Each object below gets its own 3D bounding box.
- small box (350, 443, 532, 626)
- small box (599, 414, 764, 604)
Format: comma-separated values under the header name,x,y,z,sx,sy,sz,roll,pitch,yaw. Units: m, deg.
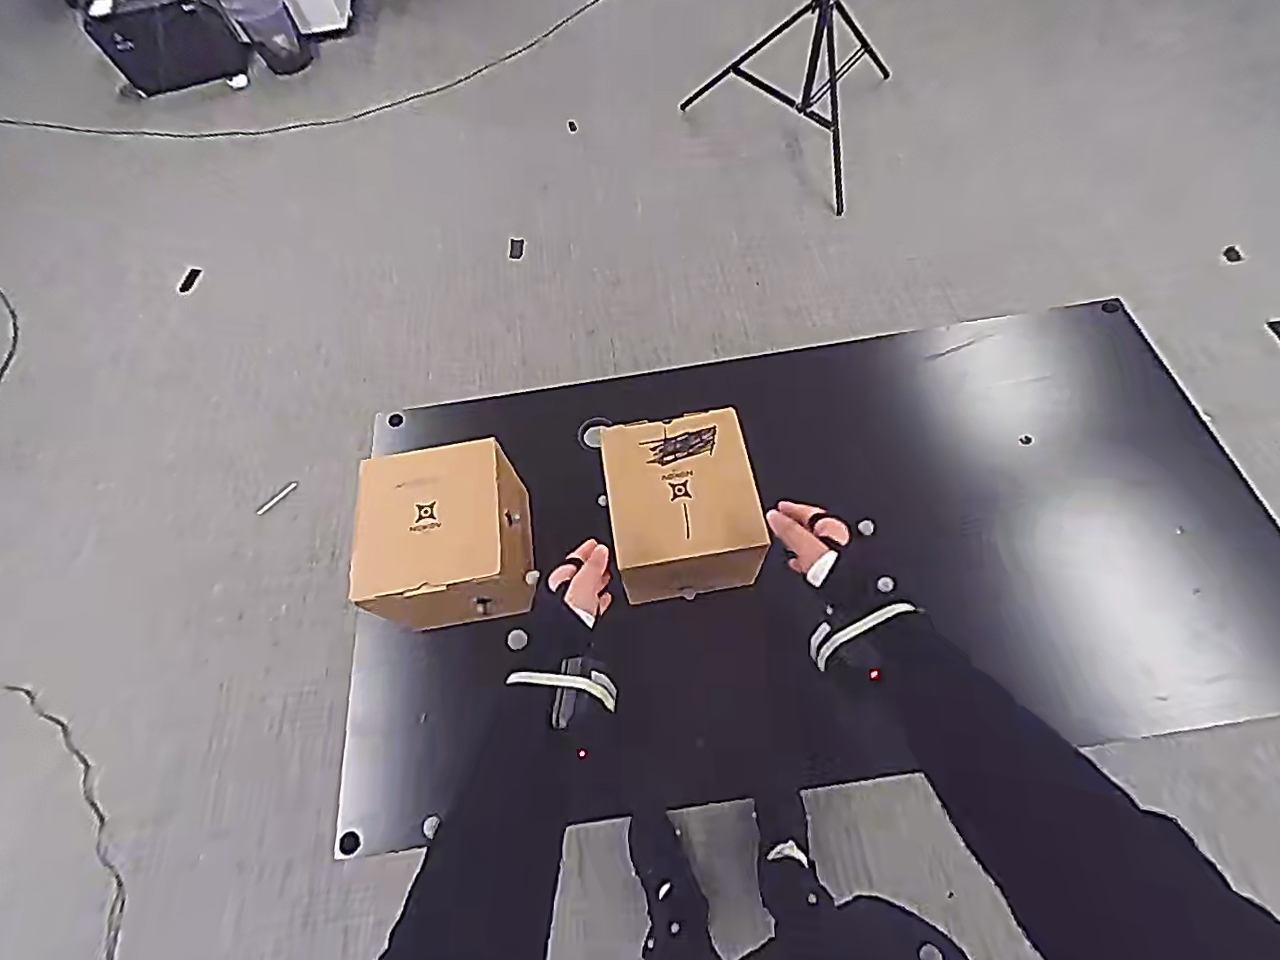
name,x,y,z,sx,sy,sz,roll,pitch,yaw
small box,-0.239,0.079,0.687,0.168,0.176,0.179,-10,63,-2
small box,0.045,0.043,0.681,0.168,0.176,0.179,-10,65,0
